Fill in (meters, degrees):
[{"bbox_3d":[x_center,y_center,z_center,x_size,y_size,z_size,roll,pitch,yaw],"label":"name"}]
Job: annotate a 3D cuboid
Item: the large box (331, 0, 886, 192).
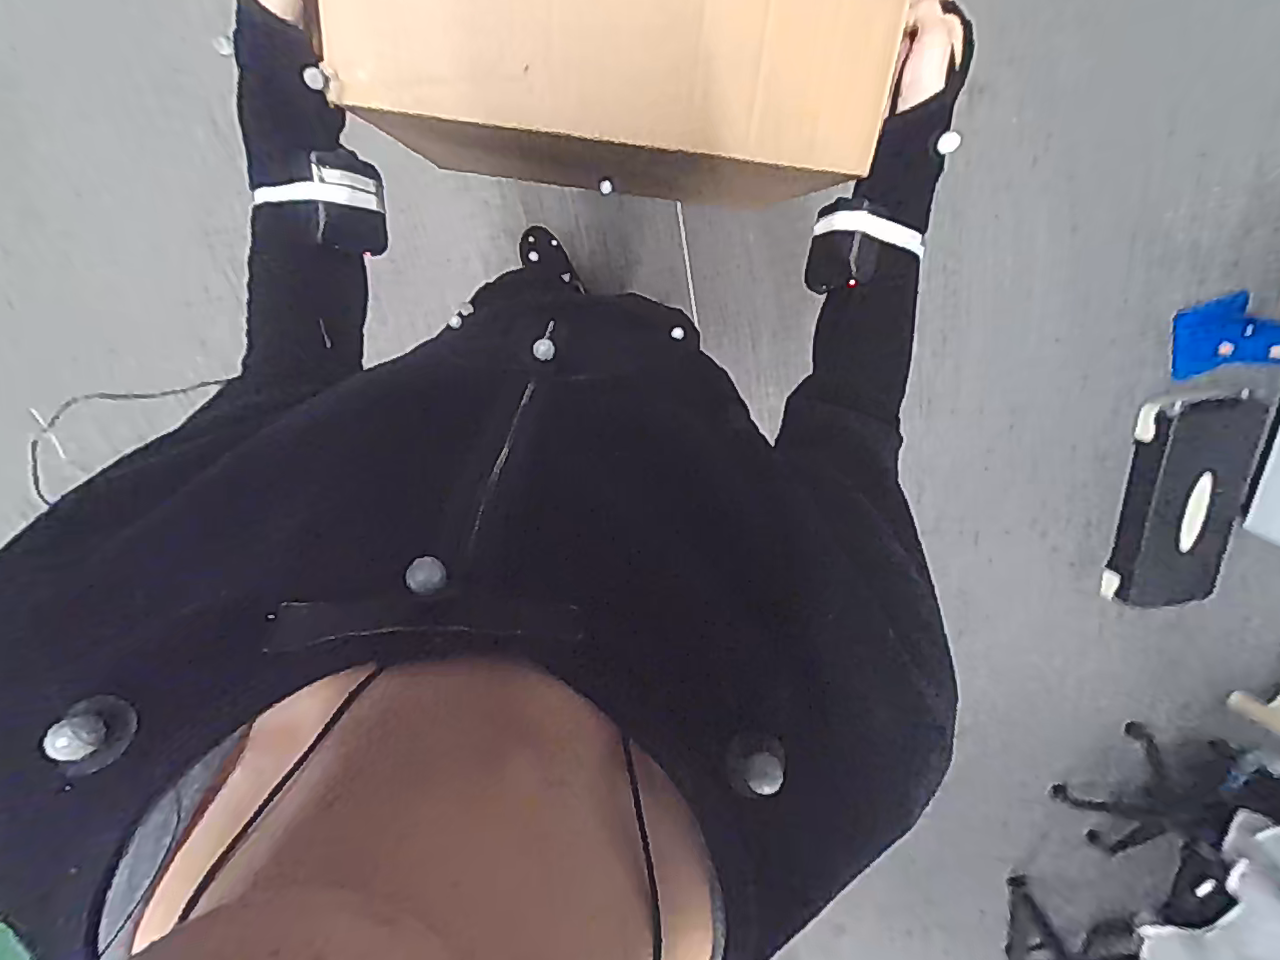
[{"bbox_3d":[-0.021,-0.464,0.498,0.408,0.320,0.320,3,111,-6],"label":"large box"}]
